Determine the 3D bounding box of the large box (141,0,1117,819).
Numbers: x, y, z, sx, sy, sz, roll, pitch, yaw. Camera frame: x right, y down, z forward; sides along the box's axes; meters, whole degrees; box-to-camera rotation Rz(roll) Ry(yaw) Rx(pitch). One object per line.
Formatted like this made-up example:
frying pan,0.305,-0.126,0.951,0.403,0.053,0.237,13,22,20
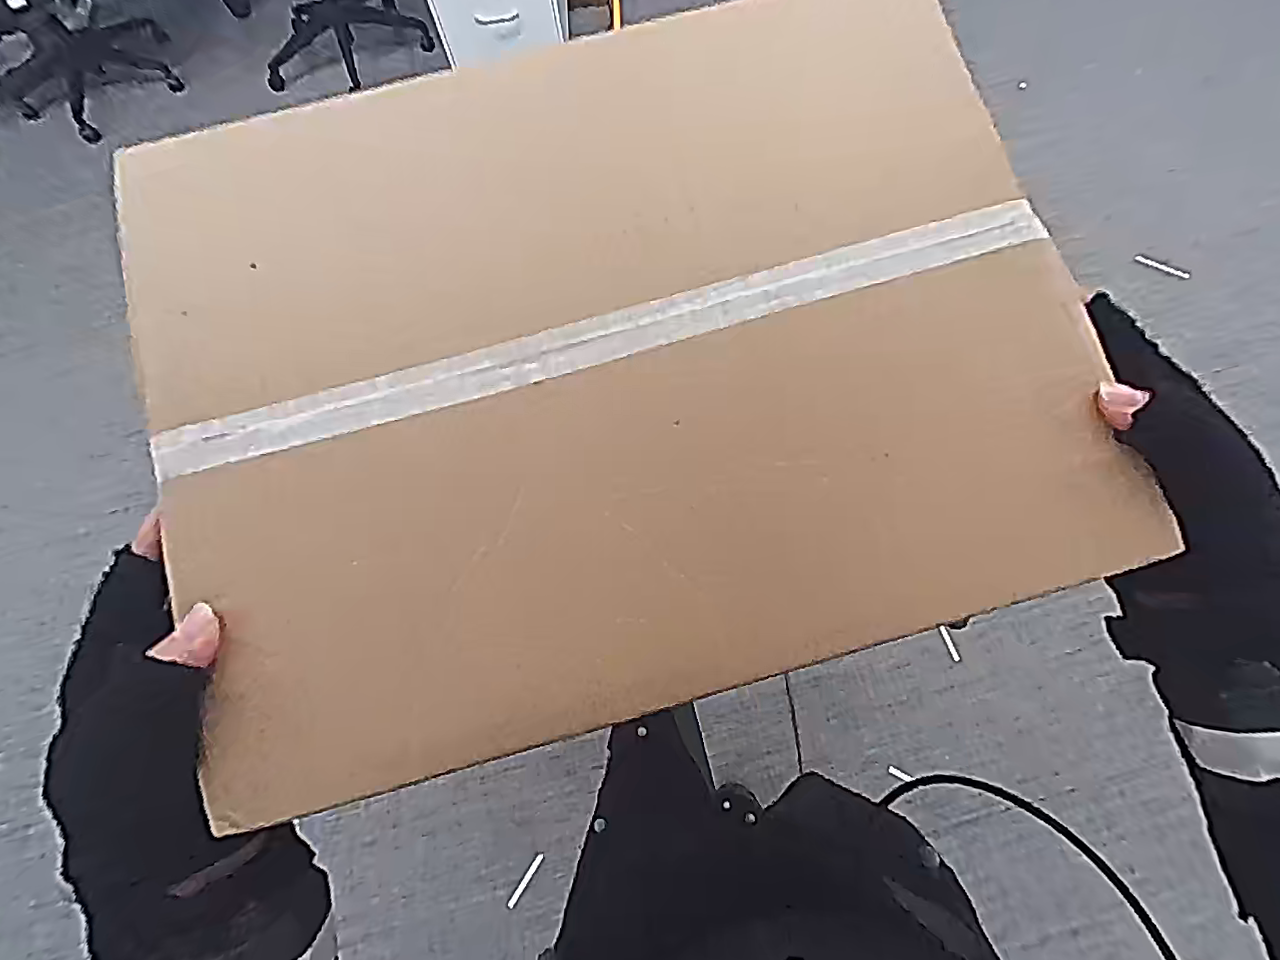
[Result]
large box,-0.015,-0.037,0.401,0.408,0.320,0.320,-16,80,-2
